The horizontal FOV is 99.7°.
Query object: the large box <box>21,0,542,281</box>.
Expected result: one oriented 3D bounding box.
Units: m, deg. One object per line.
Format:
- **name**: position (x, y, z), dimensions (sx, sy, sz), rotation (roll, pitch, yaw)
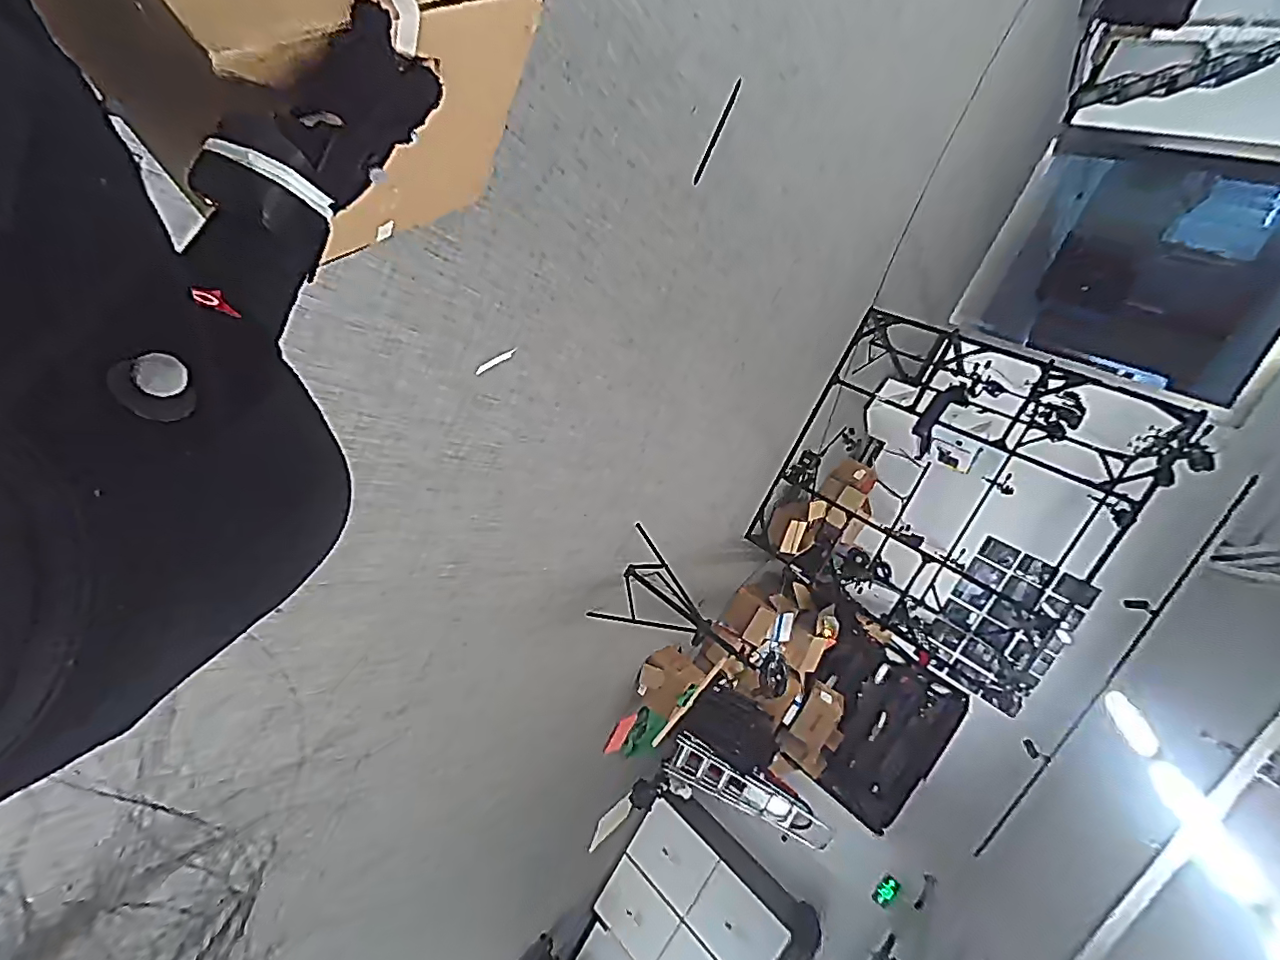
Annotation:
- **large box**: position (-0.381, -0.496, 0.539), dimensions (0.320, 0.320, 0.408), rotation (-43, 101, -28)
